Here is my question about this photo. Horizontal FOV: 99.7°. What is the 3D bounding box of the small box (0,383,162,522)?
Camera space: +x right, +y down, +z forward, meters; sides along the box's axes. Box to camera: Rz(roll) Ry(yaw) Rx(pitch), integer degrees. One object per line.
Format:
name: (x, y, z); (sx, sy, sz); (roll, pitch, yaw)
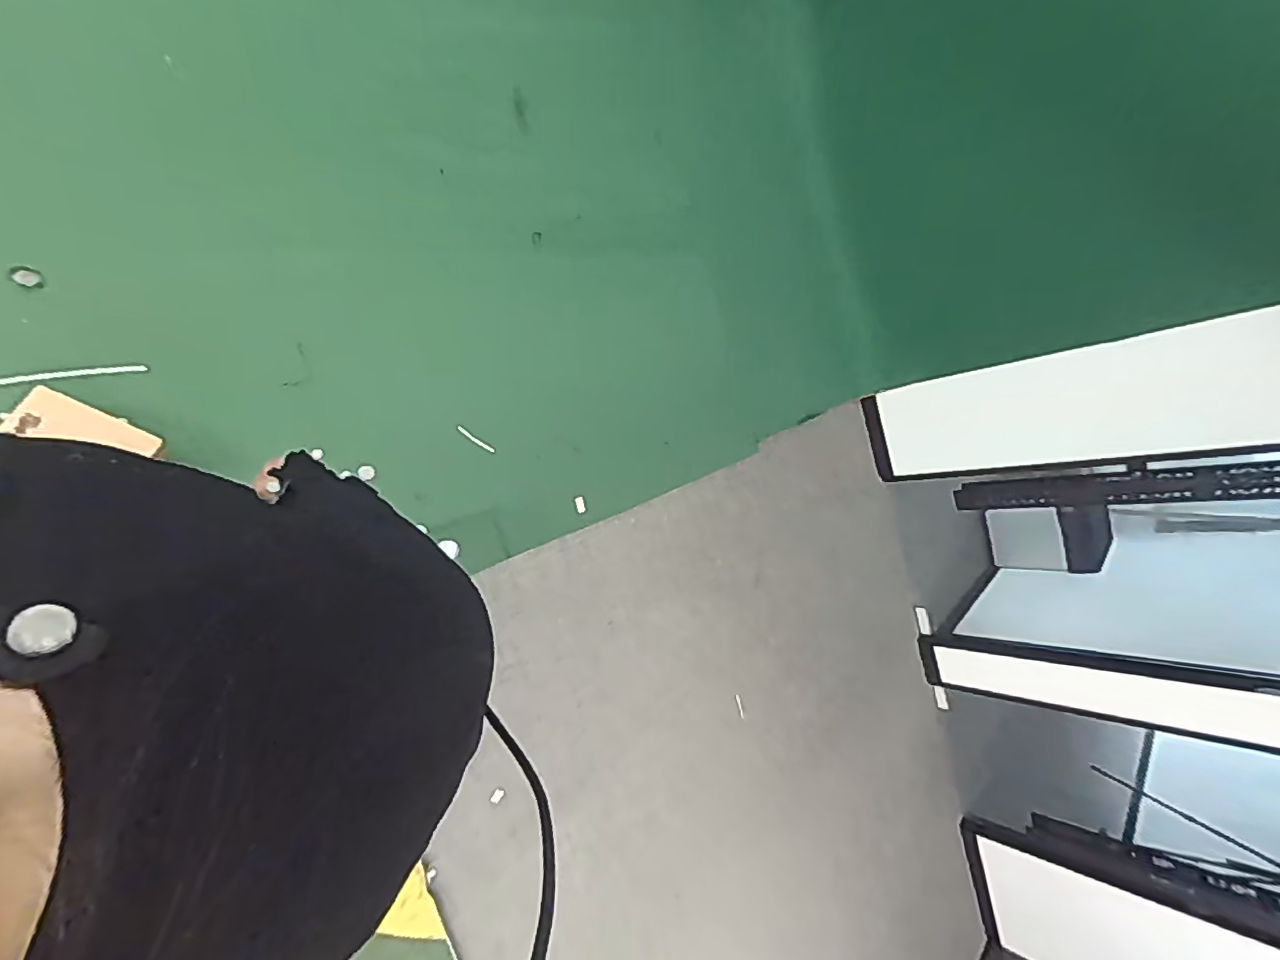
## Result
small box: (-0.968, -0.039, 0.925); (0.179, 0.176, 0.168); (35, 64, -33)
